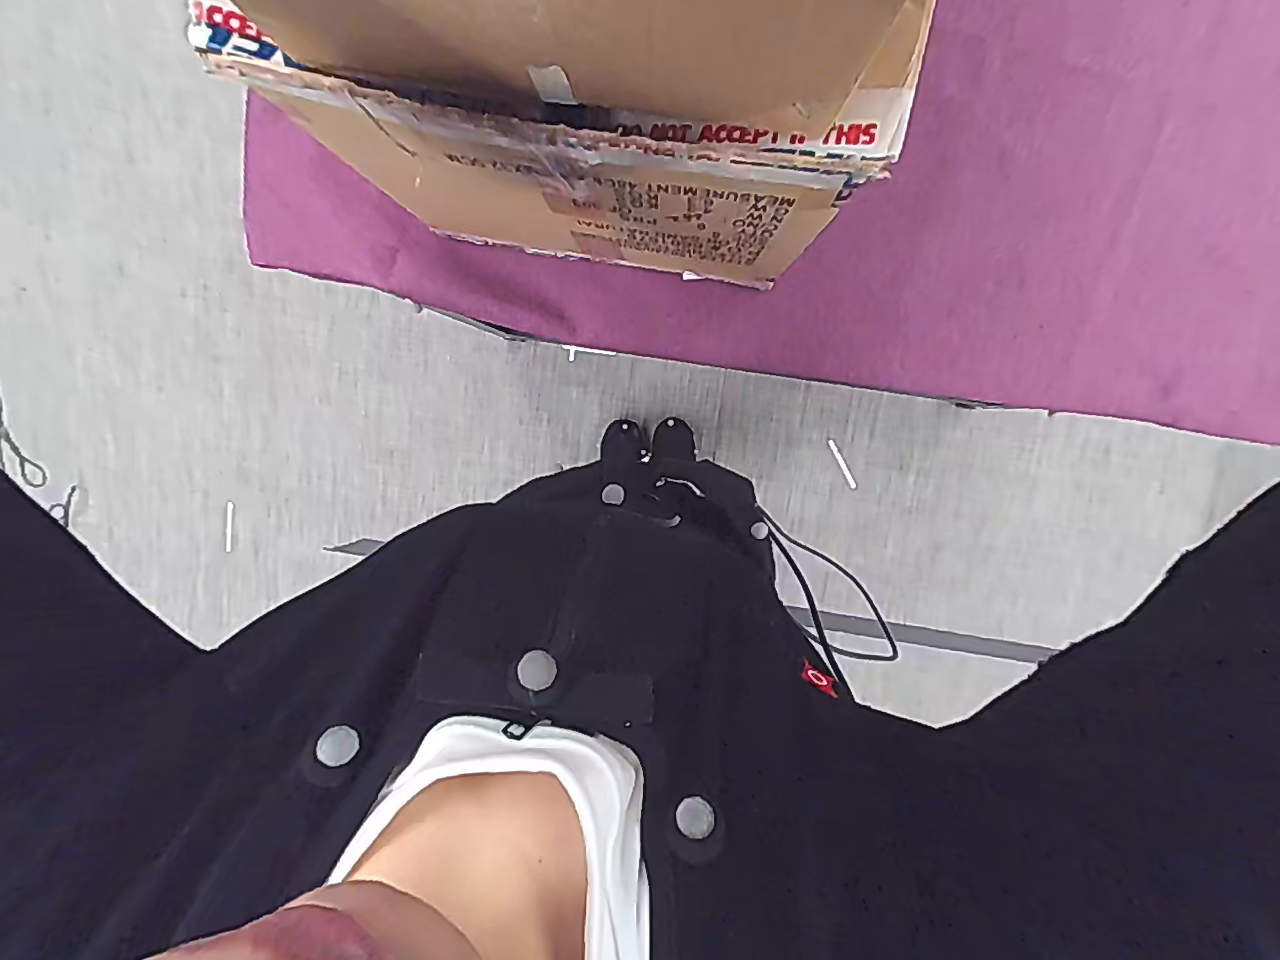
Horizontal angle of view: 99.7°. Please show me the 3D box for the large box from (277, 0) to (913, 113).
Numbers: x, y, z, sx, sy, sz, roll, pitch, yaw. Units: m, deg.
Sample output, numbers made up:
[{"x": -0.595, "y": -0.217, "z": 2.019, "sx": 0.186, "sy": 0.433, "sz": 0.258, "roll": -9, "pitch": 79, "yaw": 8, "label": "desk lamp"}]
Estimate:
[{"x": -0.015, "y": -0.396, "z": 0.129, "sx": 0.320, "sy": 0.320, "sz": 0.408, "roll": 8, "pitch": 98, "yaw": 3, "label": "large box"}]
